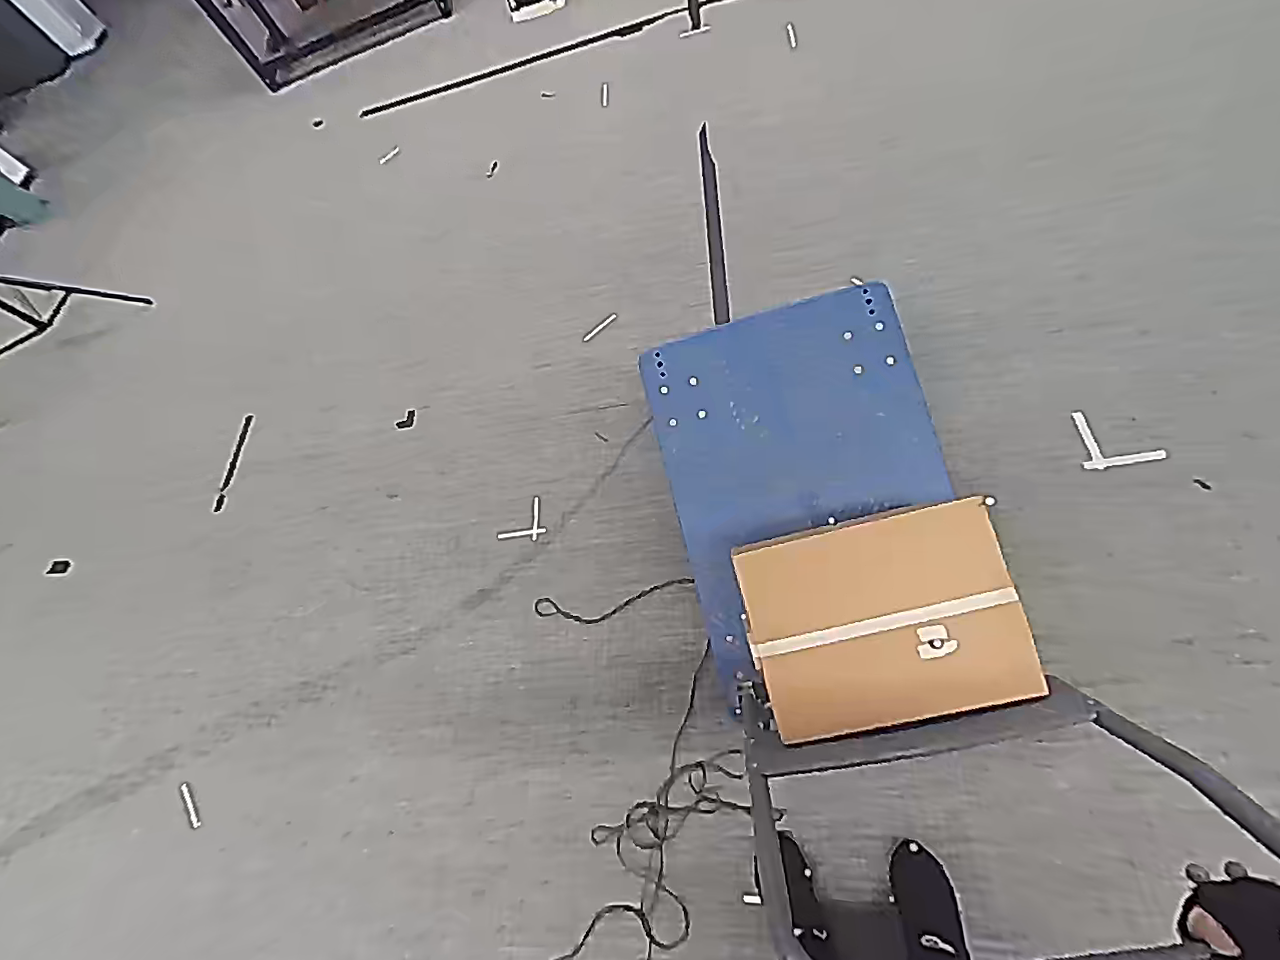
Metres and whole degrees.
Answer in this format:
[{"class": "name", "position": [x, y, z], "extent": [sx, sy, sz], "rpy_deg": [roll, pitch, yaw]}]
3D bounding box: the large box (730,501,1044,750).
[{"class": "large box", "position": [0.402, 0.247, 0.998], "extent": [0.408, 0.320, 0.320], "rpy_deg": [-15, 83, 7]}]
